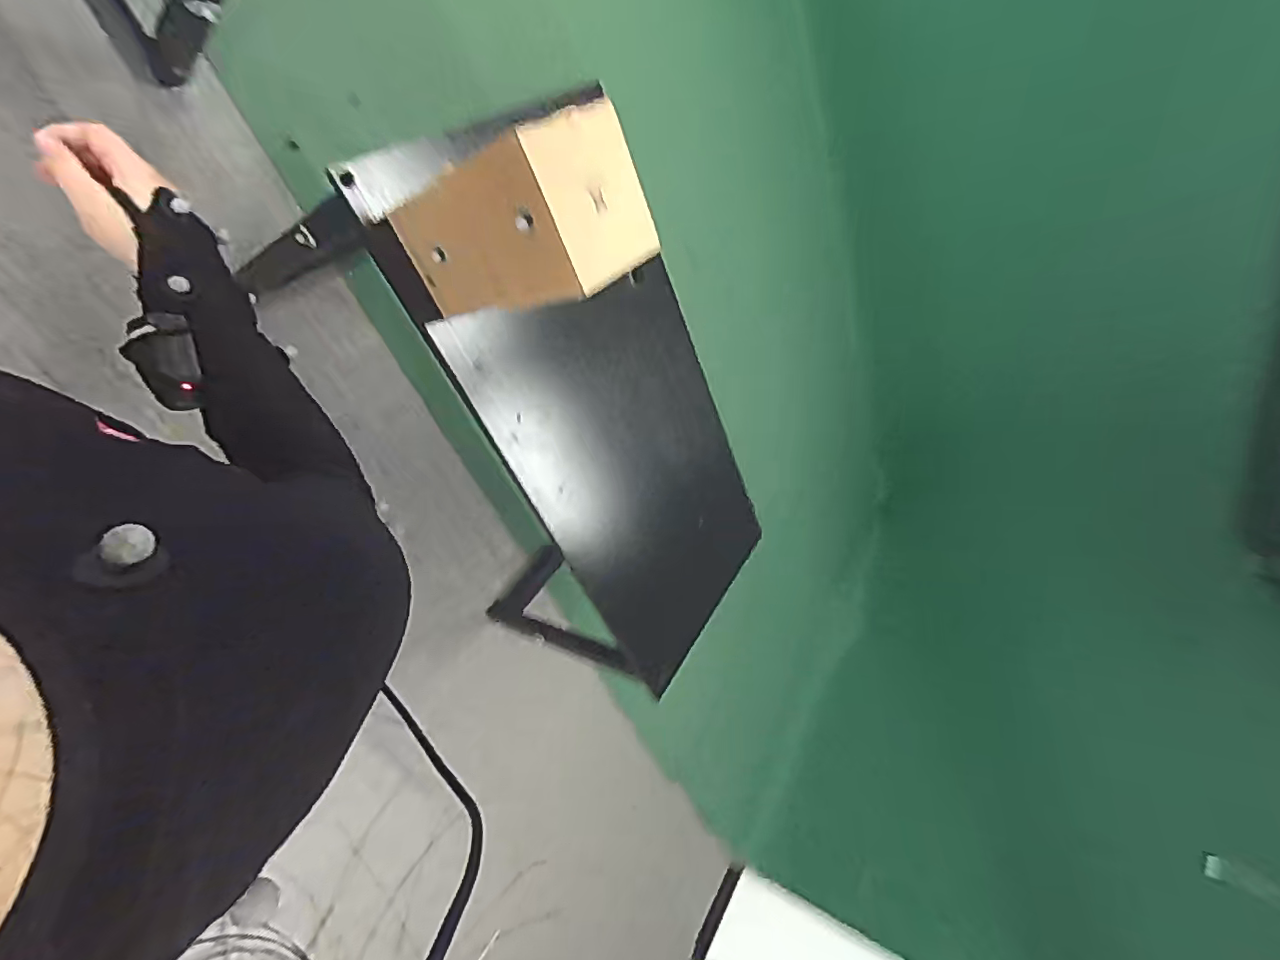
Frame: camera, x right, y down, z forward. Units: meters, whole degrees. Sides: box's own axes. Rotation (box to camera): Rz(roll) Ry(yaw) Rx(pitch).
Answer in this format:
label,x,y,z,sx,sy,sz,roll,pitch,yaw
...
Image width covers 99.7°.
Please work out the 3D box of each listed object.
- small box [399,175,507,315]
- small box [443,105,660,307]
label,x,y,z,sx,sy,sz,roll,pitch,yaw
small box,-0.223,-0.359,0.797,0.179,0.176,0.168,-47,127,-35
small box,-0.109,-0.332,0.684,0.168,0.176,0.179,-46,126,-35
